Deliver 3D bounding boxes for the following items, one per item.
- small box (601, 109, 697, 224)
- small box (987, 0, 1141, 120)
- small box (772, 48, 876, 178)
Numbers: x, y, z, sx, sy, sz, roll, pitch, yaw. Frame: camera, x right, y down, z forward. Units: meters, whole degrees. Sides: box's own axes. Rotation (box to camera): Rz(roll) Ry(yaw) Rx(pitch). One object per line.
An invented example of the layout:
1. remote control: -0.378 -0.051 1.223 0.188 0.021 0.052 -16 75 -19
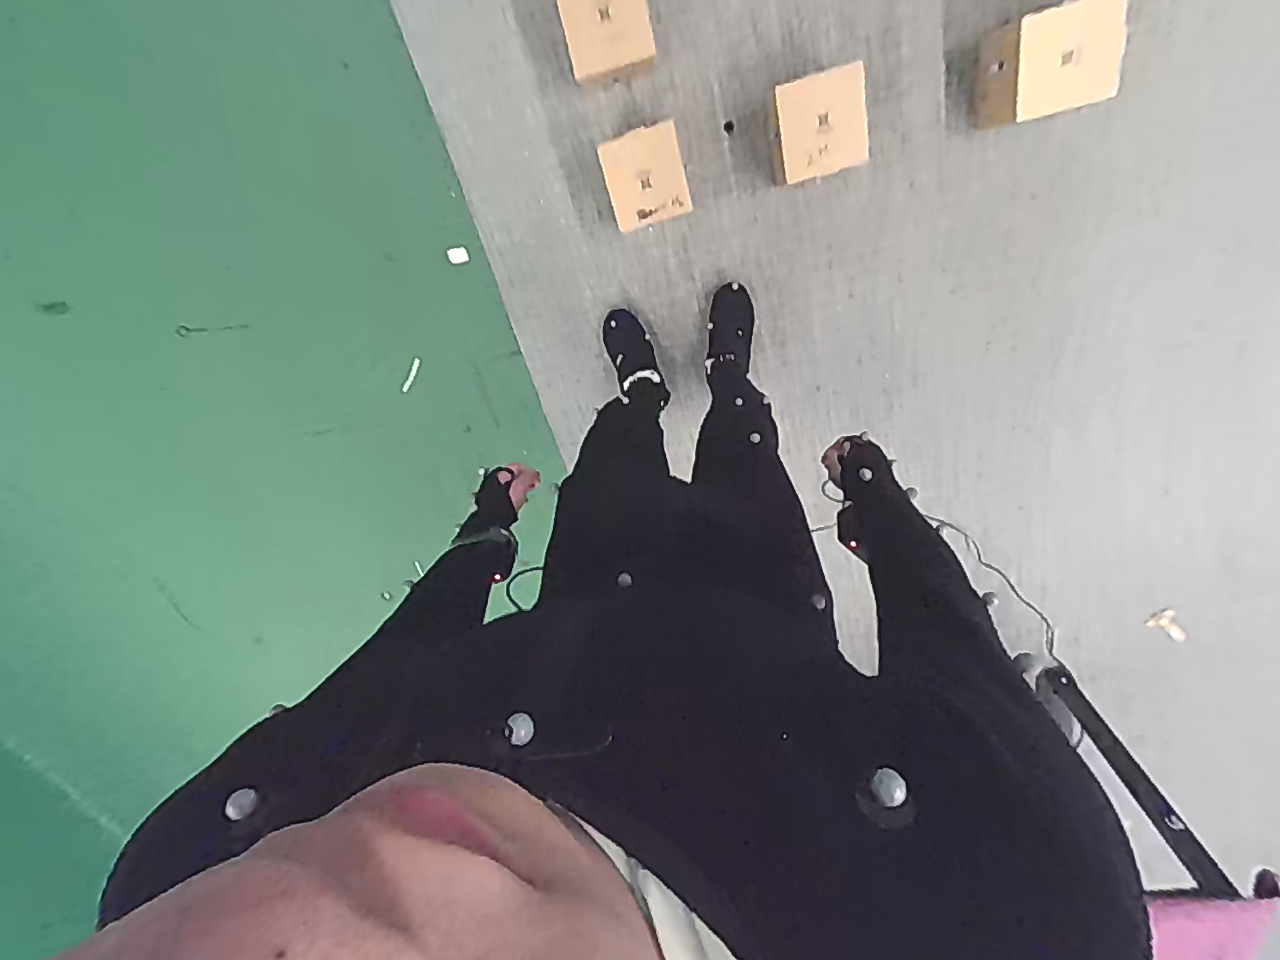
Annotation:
1. small box: 0.026 -0.674 1.182 0.168 0.176 0.179 -11 115 13
2. small box: 0.792 -0.809 1.029 0.179 0.176 0.168 -10 116 11
3. small box: 0.372 -0.739 1.110 0.168 0.176 0.179 -10 116 12
